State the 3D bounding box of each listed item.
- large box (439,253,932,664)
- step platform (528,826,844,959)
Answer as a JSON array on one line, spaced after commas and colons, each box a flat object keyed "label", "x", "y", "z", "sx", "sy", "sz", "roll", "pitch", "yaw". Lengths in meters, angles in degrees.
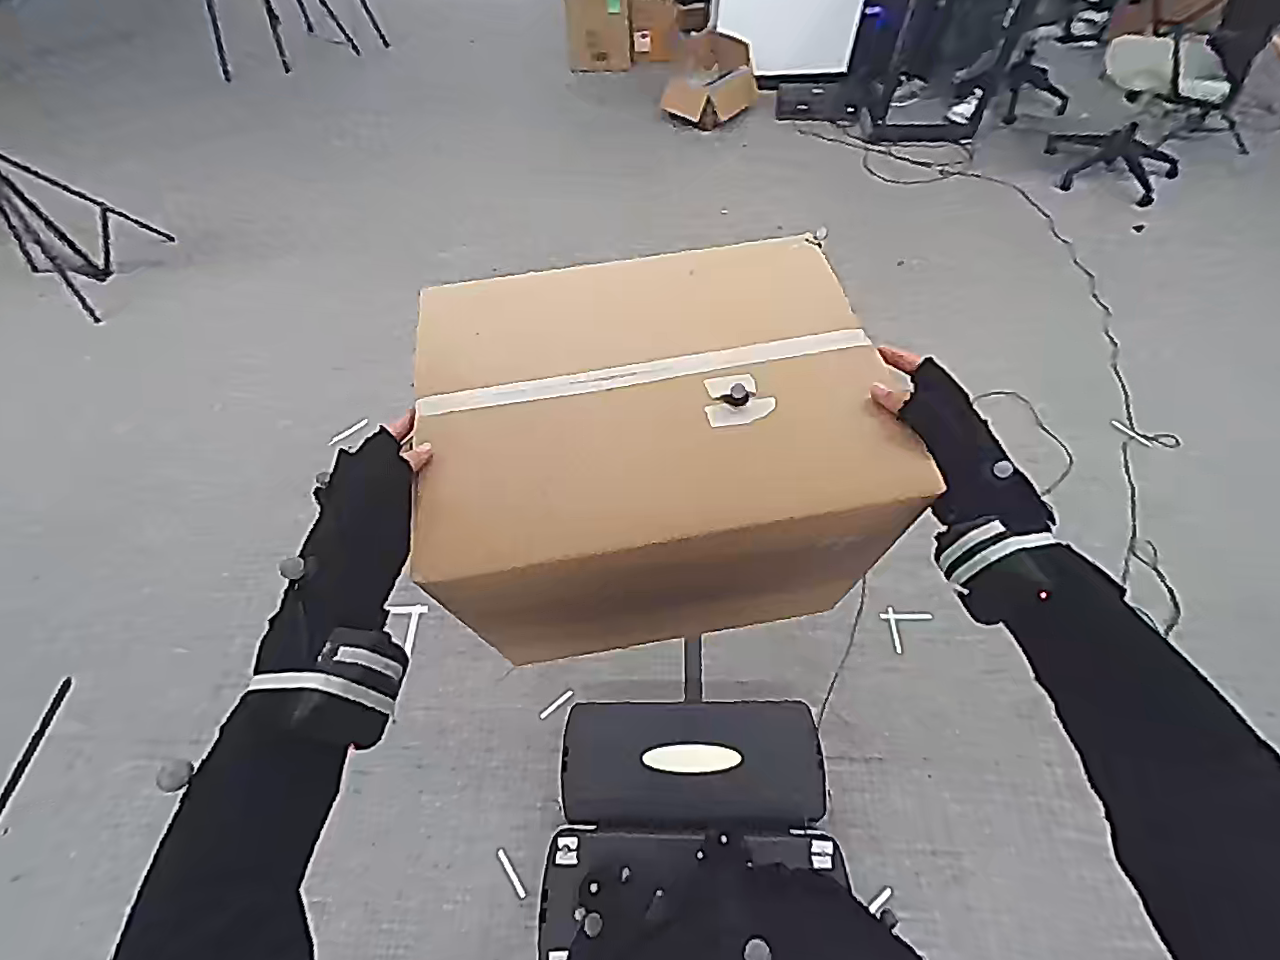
[{"label": "large box", "x": 0.019, "y": -0.008, "z": 0.622, "sx": 0.408, "sy": 0.320, "sz": 0.320, "roll": -9, "pitch": 61, "yaw": -4}, {"label": "step platform", "x": 0.097, "y": 0.956, "z": 1.222, "sx": 0.684, "sy": 0.204, "sz": 0.286, "roll": -1, "pitch": 58, "yaw": 3}]
